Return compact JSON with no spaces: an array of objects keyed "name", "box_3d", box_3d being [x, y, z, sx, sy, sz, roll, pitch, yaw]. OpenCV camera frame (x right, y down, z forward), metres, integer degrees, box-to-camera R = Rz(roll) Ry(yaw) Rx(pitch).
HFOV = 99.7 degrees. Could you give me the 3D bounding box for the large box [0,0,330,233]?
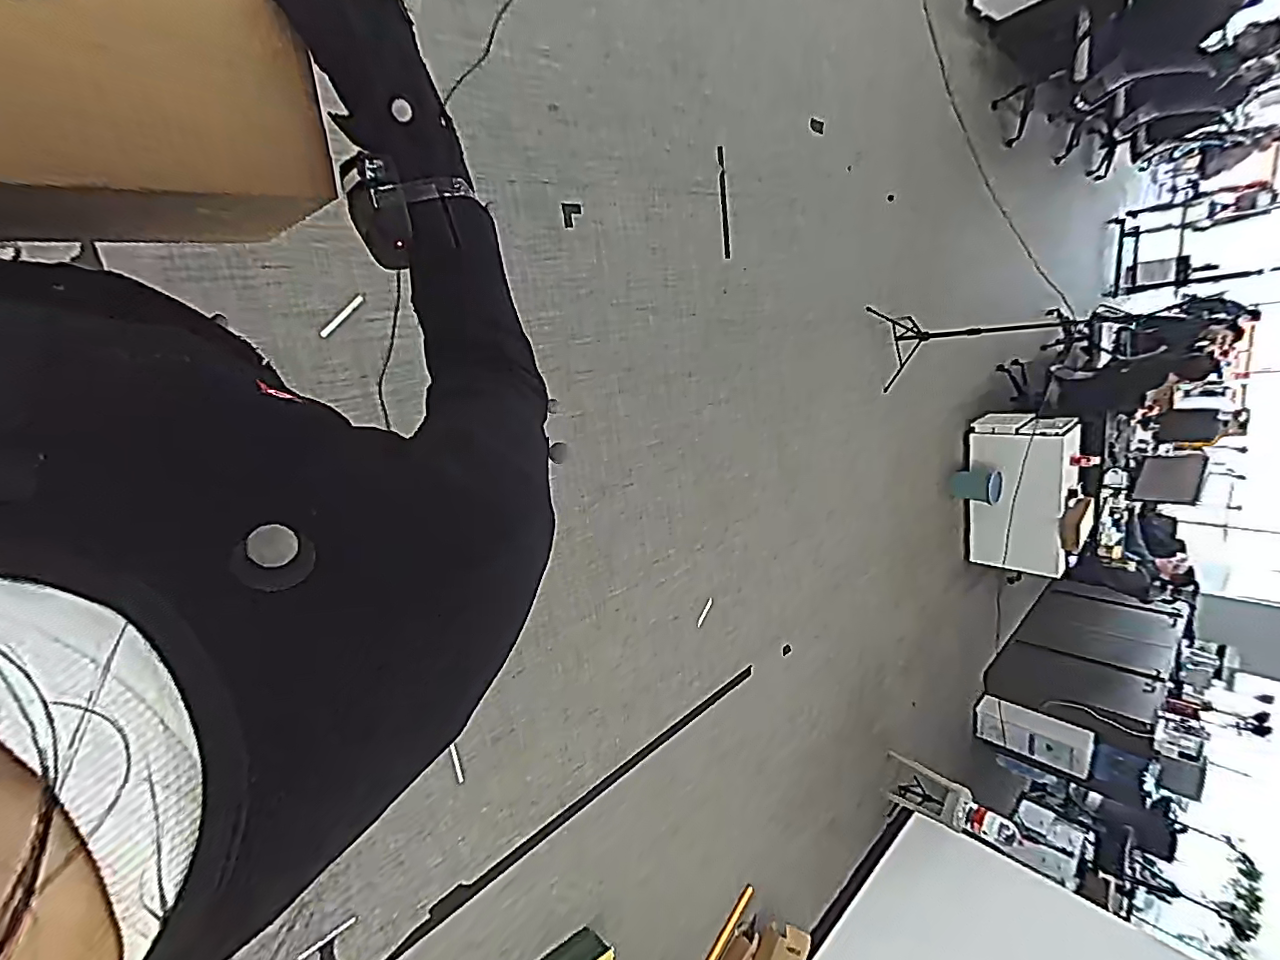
[{"name":"large box","box_3d":[-0.484,-0.333,0.331,0.408,0.320,0.320,-21,117,-38]}]
